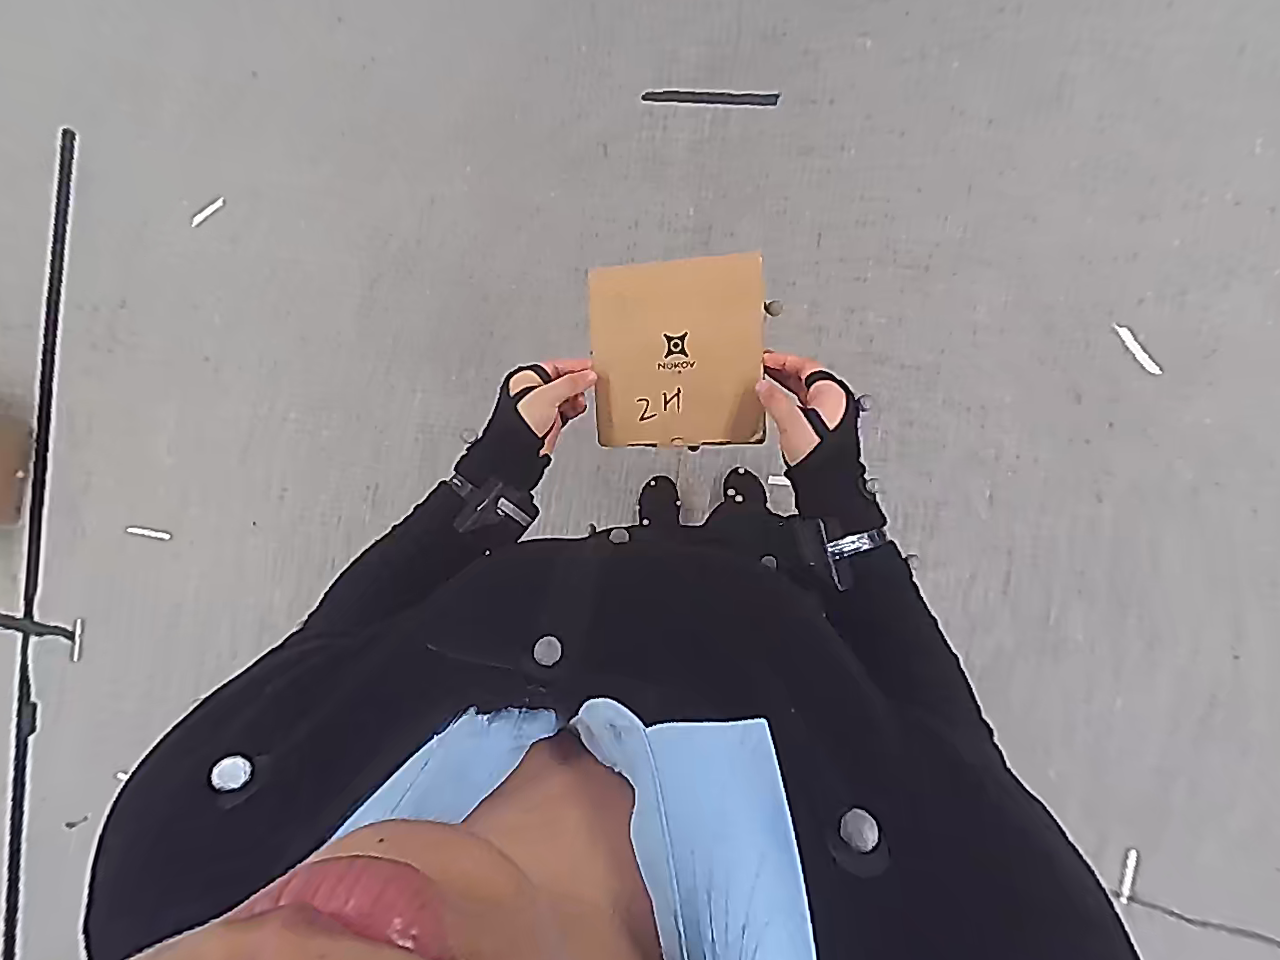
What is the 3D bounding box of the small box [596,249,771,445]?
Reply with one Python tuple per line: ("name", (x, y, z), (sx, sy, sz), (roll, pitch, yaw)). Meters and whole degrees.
("small box", (0.056, -0.131, 0.585), (0.168, 0.176, 0.179), (0, 99, 13))
